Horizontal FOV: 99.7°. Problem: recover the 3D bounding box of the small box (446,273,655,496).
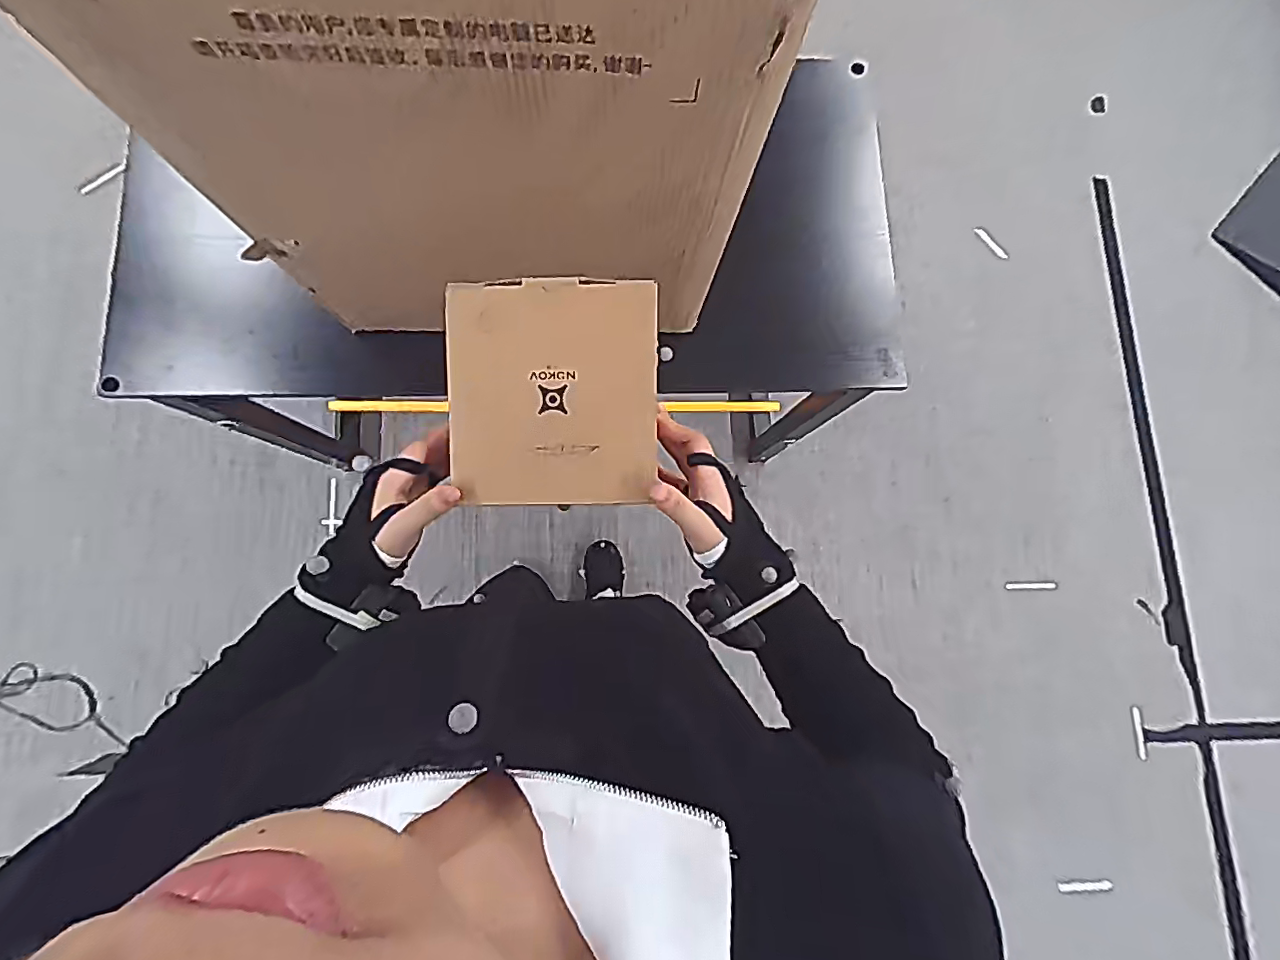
[{"bbox_3d":[-0.071,-0.077,0.505,0.168,0.176,0.179,-1,93,0],"label":"small box"}]
